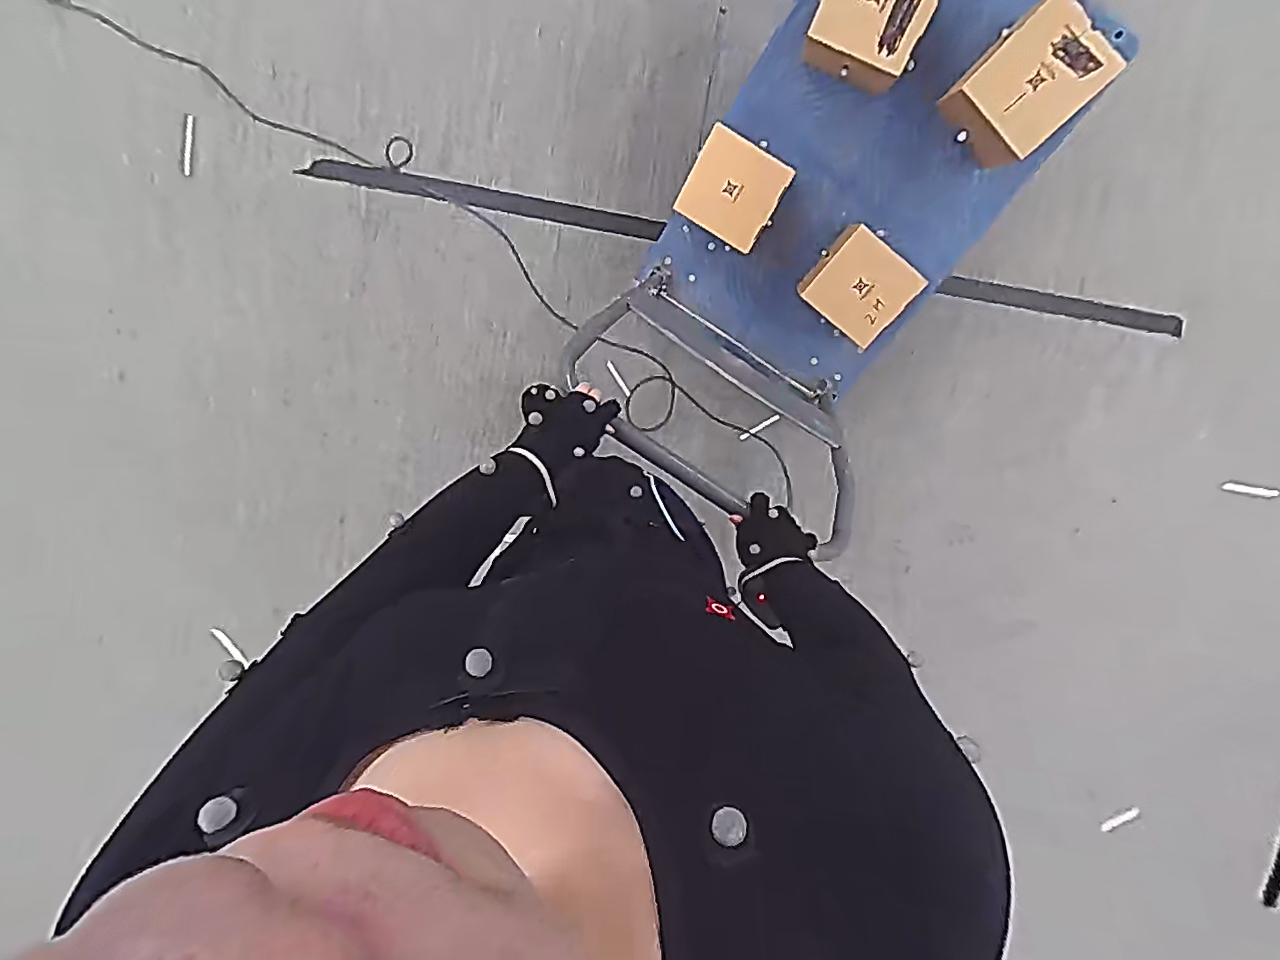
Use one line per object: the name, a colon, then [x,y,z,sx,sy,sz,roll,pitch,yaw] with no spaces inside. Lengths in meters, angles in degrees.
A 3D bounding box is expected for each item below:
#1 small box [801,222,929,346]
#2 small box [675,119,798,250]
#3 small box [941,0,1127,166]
small box: [0.454,-0.409,1.126,0.179,0.176,0.168,38,117,-6]
small box: [0.194,-0.590,1.100,0.179,0.176,0.168,30,117,-4]
small box: [0.671,-0.687,0.946,0.168,0.176,0.179,43,117,-9]
